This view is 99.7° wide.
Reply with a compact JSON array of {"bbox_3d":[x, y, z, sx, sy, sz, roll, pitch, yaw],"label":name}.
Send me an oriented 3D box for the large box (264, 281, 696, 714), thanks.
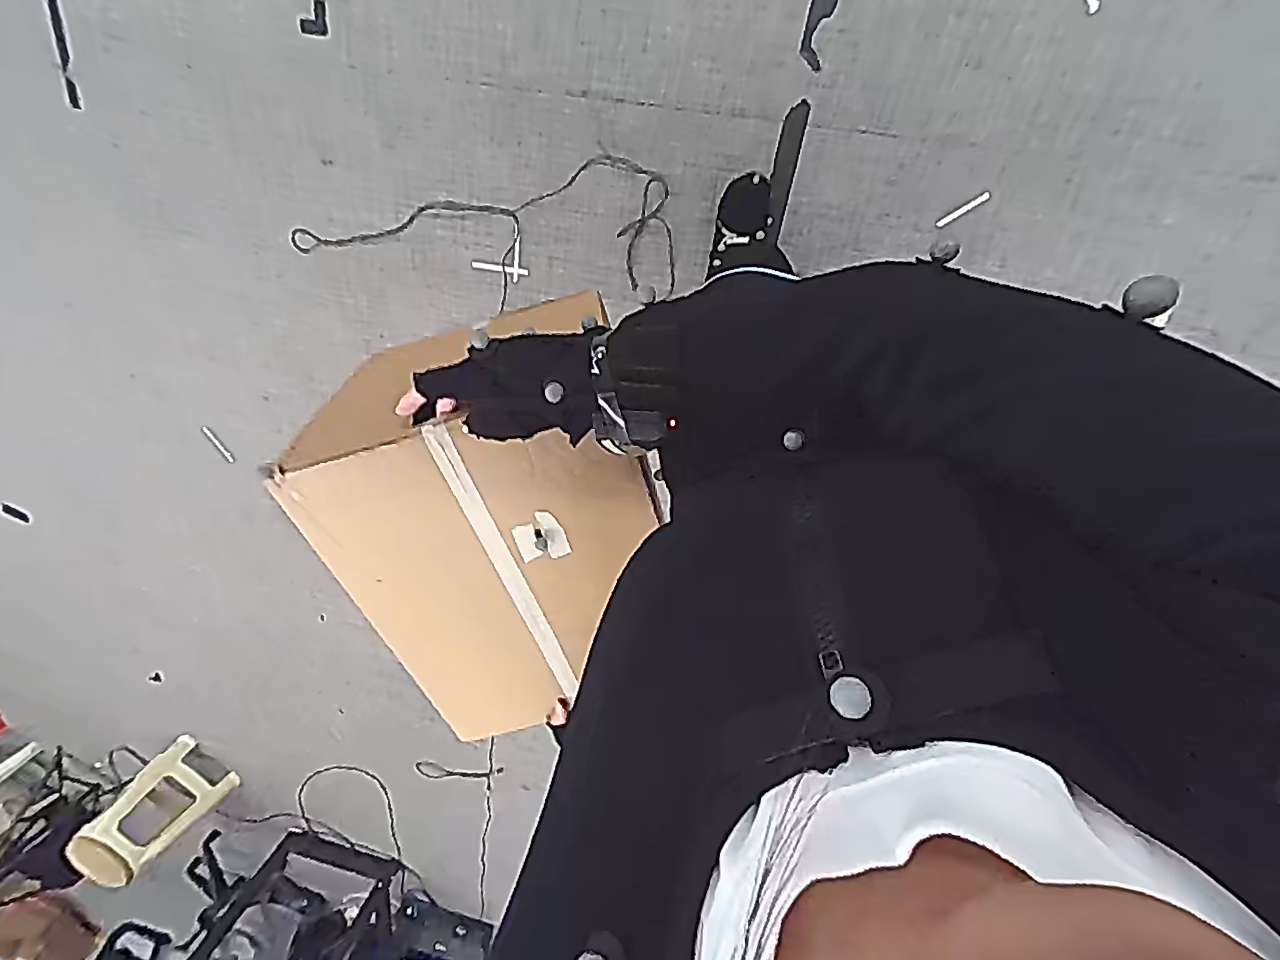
[{"bbox_3d":[-0.144,0.015,0.686,0.320,0.320,0.408,-16,122,1],"label":"large box"}]
